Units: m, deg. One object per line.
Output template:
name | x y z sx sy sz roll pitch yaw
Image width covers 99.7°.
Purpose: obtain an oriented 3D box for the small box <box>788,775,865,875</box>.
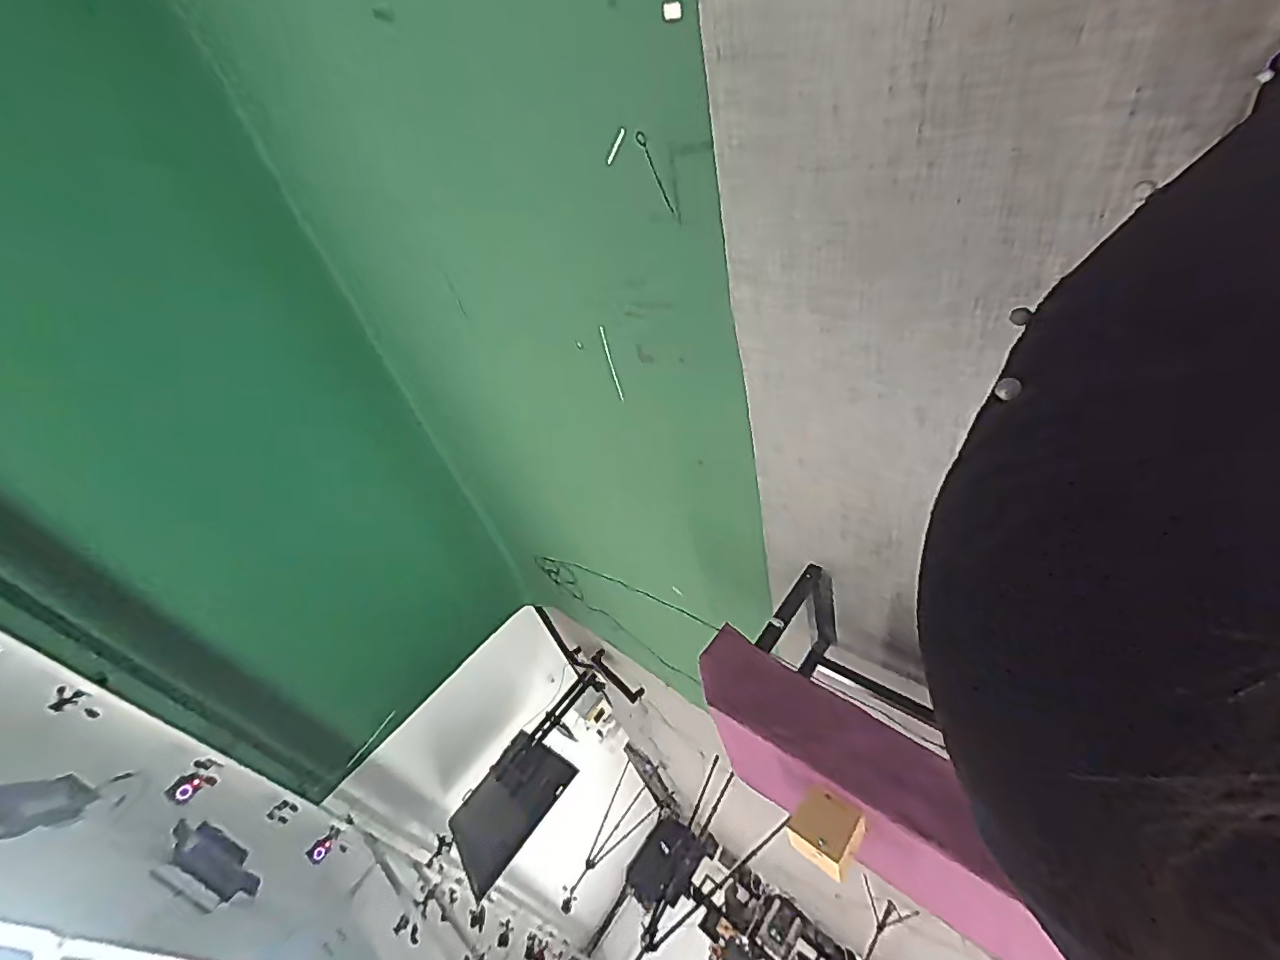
small box | 0.574 1.050 1.653 0.168 0.176 0.179 18 142 39
